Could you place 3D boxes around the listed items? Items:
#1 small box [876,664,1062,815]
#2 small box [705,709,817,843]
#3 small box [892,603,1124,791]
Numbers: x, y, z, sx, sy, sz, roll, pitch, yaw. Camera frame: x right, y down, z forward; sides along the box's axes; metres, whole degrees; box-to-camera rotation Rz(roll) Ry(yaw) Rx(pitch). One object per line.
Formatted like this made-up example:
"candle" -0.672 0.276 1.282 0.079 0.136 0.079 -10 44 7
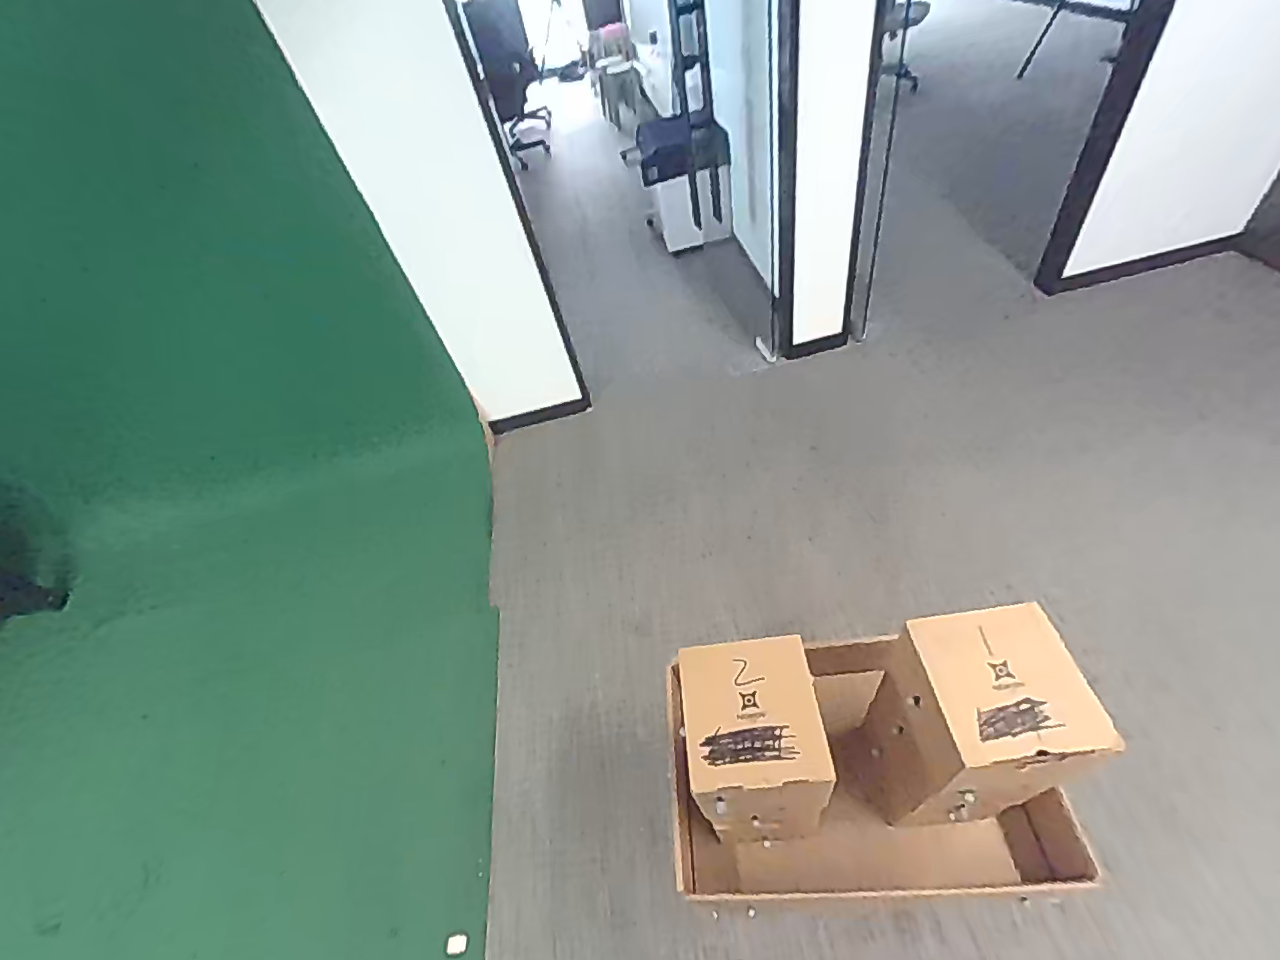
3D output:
"small box" 0.472 0.384 0.814 0.168 0.176 0.179 -9 49 6
"small box" 0.210 0.531 0.967 0.168 0.176 0.179 -8 48 8
"small box" 0.442 0.283 0.688 0.168 0.176 0.179 -10 48 6
